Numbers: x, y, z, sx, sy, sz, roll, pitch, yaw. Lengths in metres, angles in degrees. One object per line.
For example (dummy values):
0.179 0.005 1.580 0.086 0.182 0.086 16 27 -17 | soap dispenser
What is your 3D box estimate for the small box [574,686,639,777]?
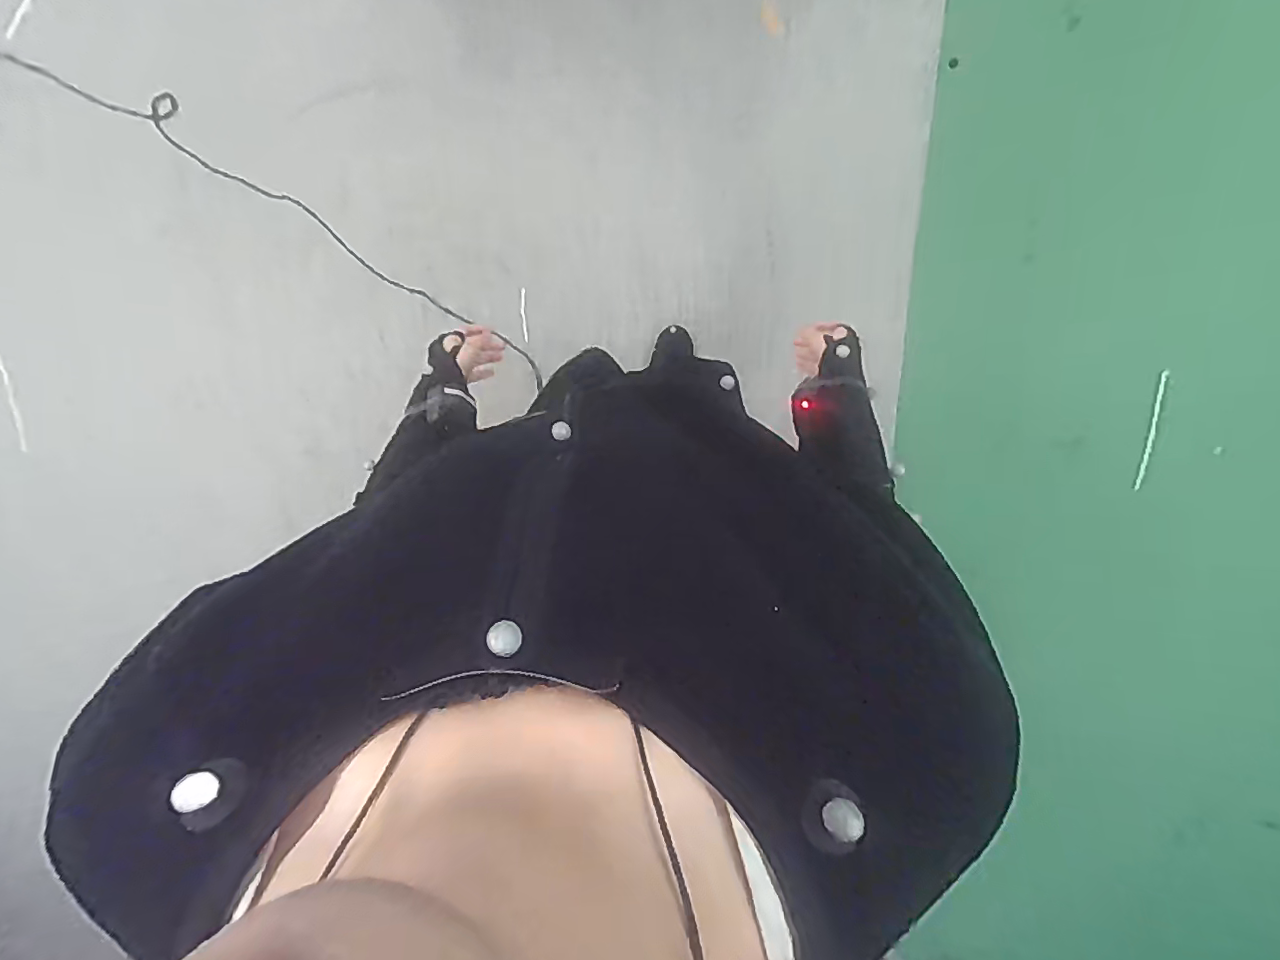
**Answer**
-0.094 0.736 1.599 0.168 0.176 0.179 7 104 2 | small box
